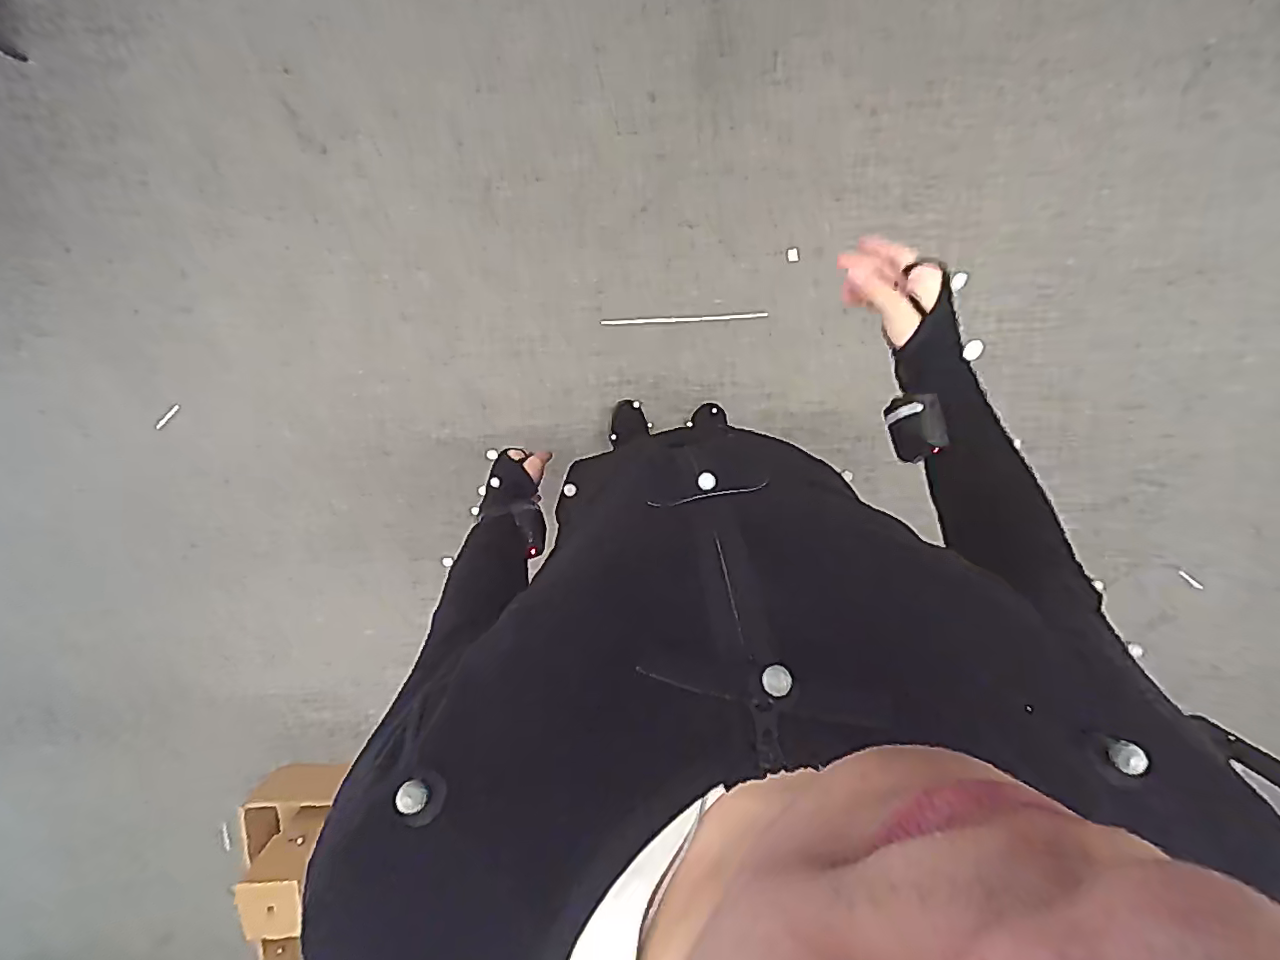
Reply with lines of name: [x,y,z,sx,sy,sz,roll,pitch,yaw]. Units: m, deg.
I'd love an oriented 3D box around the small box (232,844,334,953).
small box: [-0.974,1.149,1.492,0.168,0.176,0.179,-3,98,-1]
